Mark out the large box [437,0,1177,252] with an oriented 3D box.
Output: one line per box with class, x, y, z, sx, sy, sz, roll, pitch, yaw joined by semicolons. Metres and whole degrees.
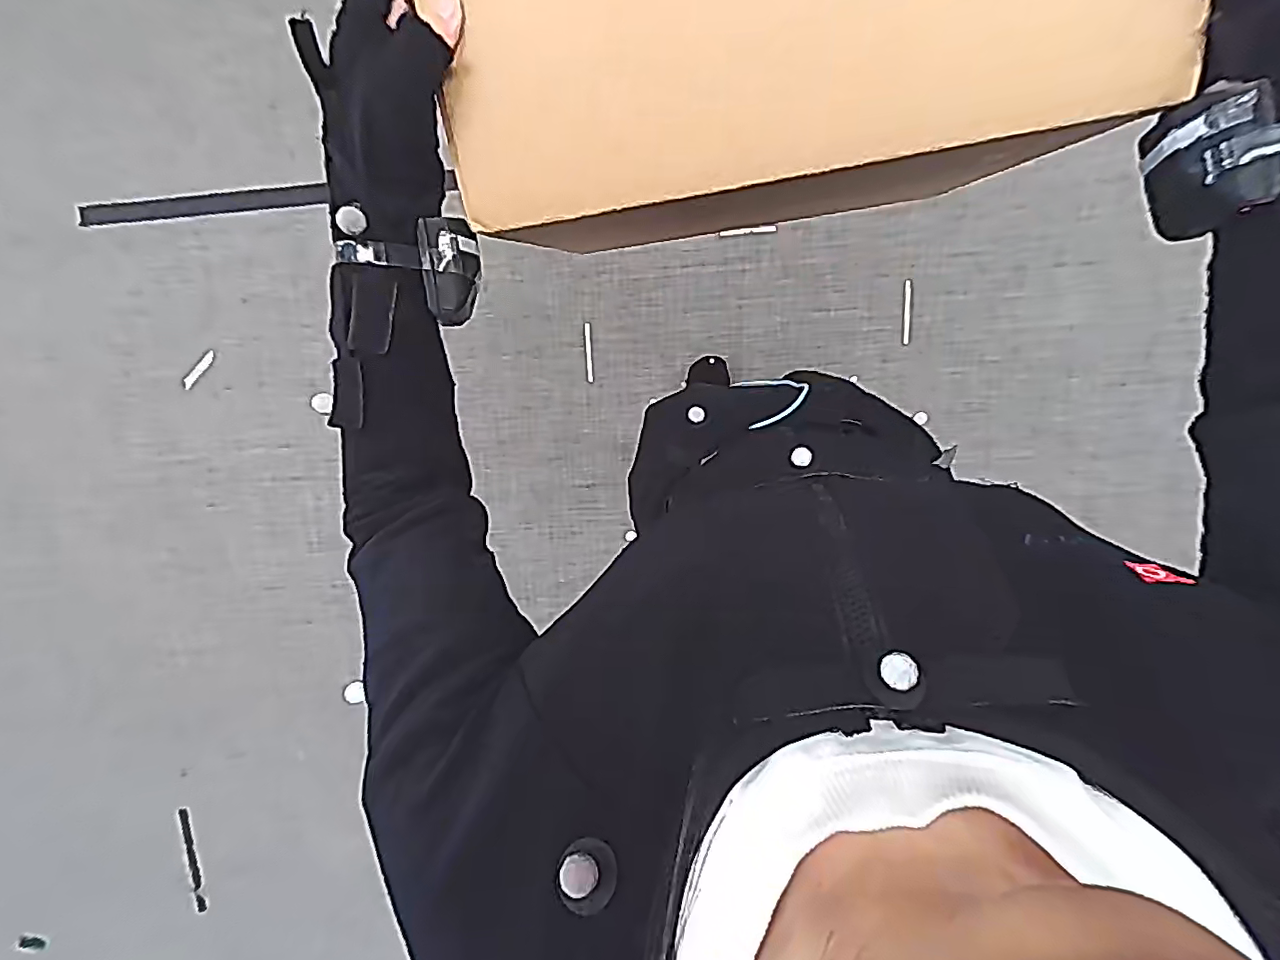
large box;0.083;-0.383;0.418;0.408;0.320;0.320;-7;110;8
